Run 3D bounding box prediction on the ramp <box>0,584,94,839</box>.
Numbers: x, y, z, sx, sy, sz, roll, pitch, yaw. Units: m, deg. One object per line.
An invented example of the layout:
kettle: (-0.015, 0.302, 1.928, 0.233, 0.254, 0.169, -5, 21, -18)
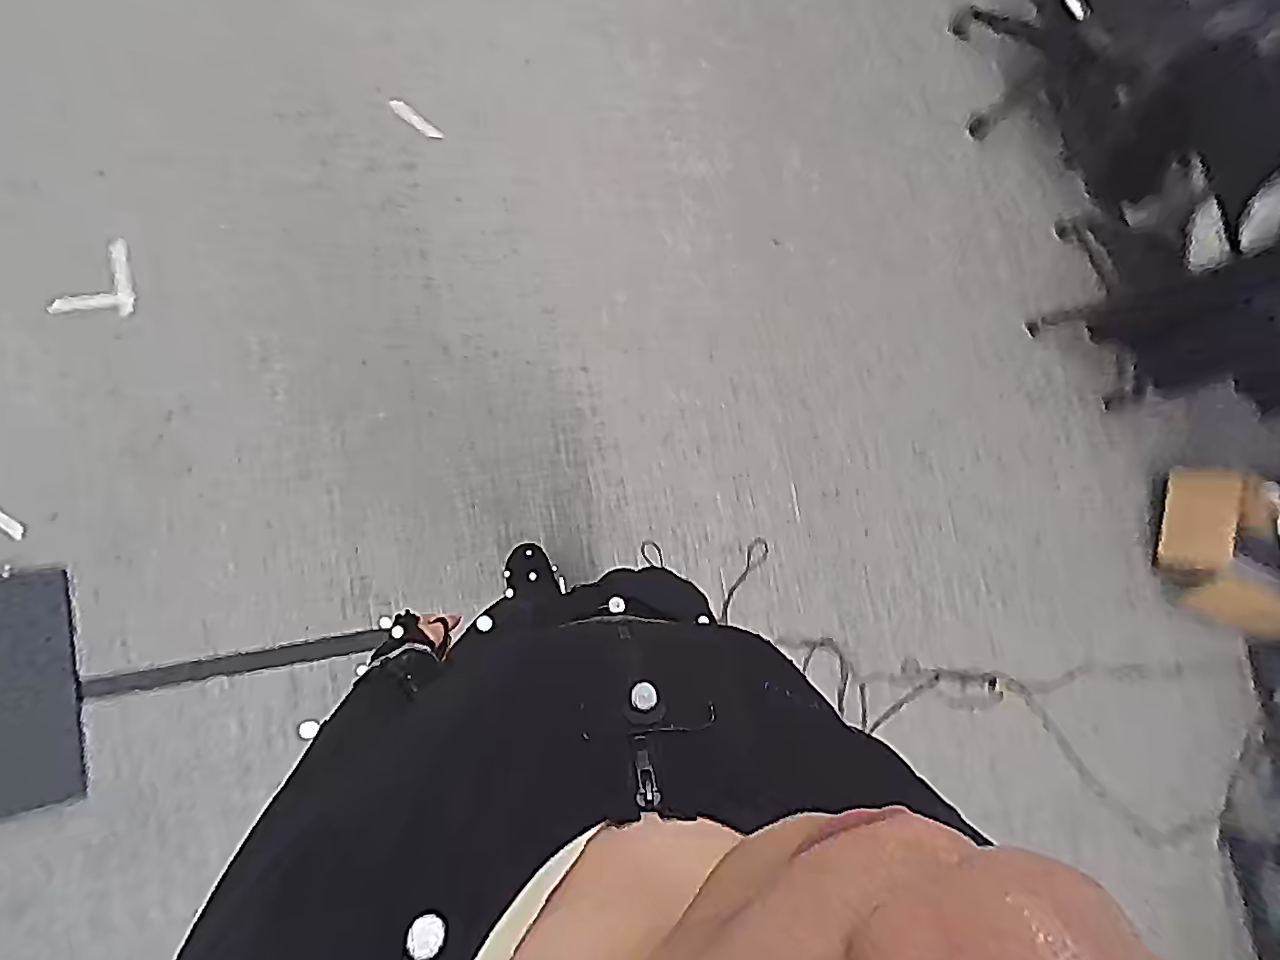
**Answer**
ramp: (-1.637, 0.516, 0.963, 0.991, 0.206, 0.509, -10, 83, -13)
